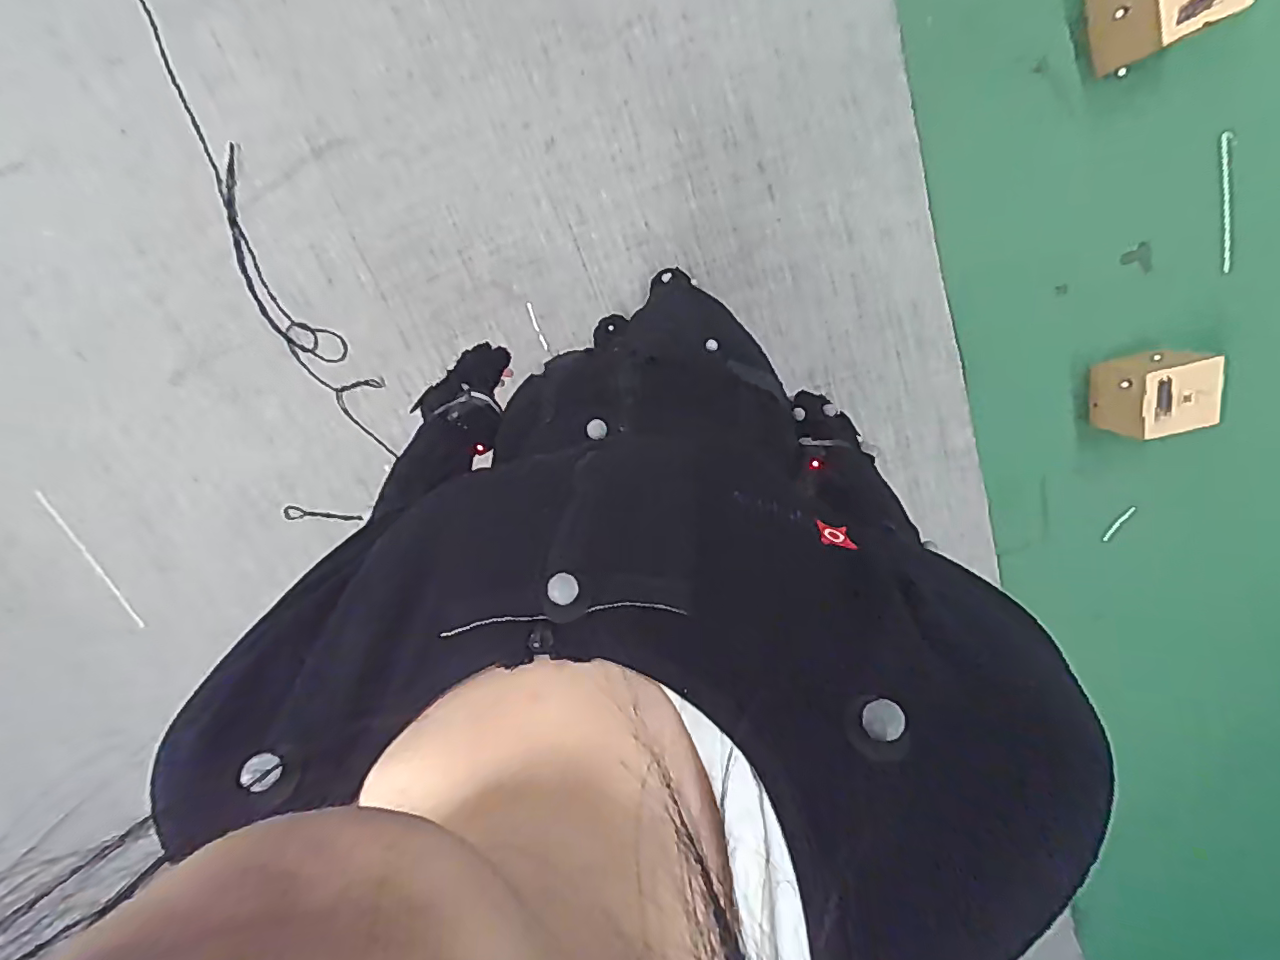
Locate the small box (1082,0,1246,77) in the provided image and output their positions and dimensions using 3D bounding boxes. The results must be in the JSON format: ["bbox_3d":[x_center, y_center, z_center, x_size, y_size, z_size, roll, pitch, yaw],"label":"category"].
[{"bbox_3d":[1.050,-0.960,1.095,0.168,0.176,0.179,-22,105,7],"label":"small box"}]
